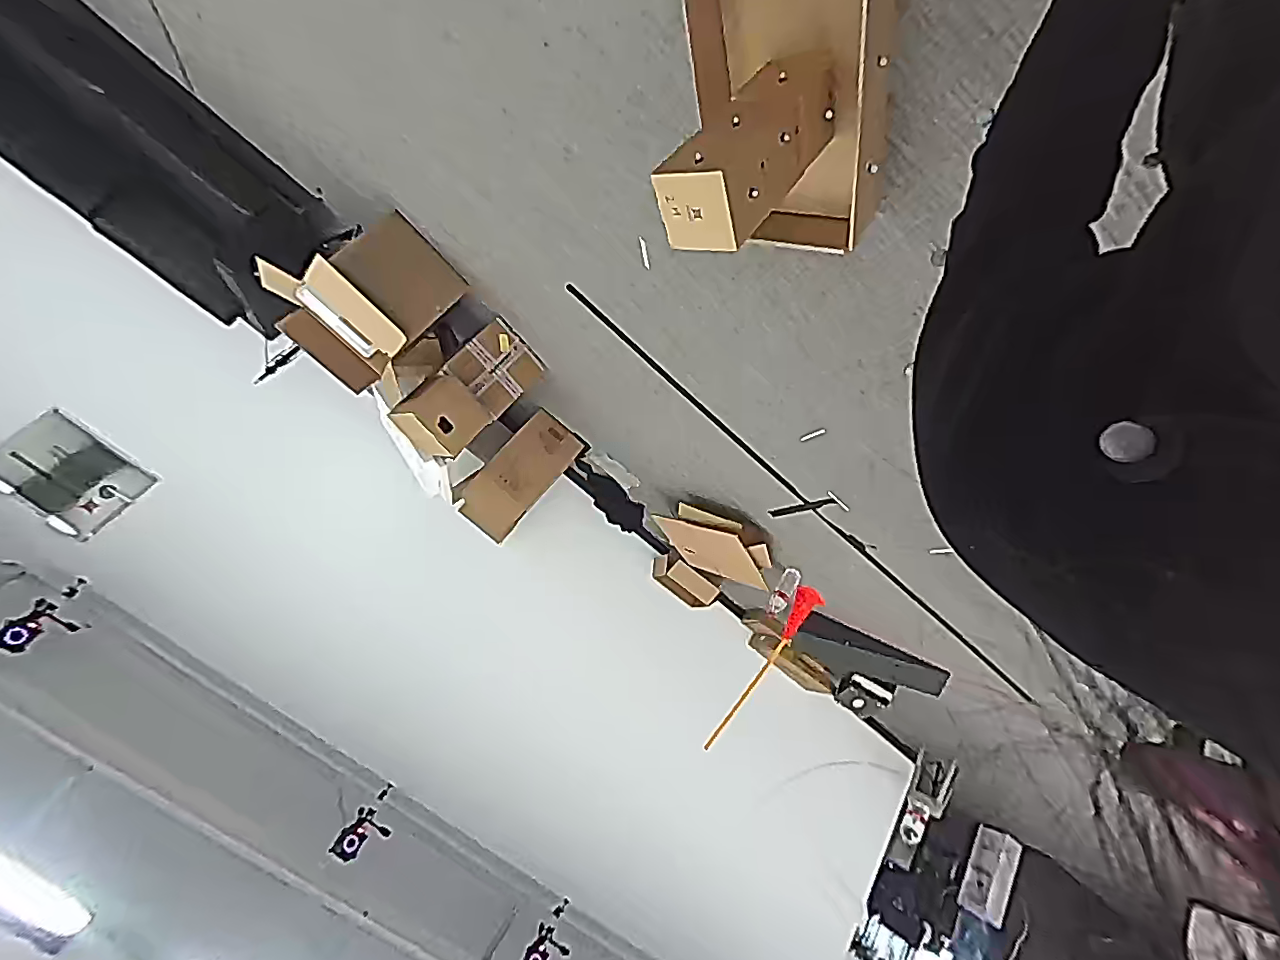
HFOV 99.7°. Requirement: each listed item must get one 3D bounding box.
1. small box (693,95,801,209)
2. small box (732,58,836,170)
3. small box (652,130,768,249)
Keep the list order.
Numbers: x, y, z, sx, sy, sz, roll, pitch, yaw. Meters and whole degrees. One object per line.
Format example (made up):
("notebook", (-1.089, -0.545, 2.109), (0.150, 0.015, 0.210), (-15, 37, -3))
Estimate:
("small box", (0.250, -0.735, 1.214), (0.179, 0.176, 0.168), (22, 152, 35))
("small box", (0.339, -0.858, 1.269), (0.179, 0.176, 0.168), (22, 154, 30))
("small box", (0.158, -0.614, 1.145), (0.179, 0.176, 0.168), (20, 151, 34))
